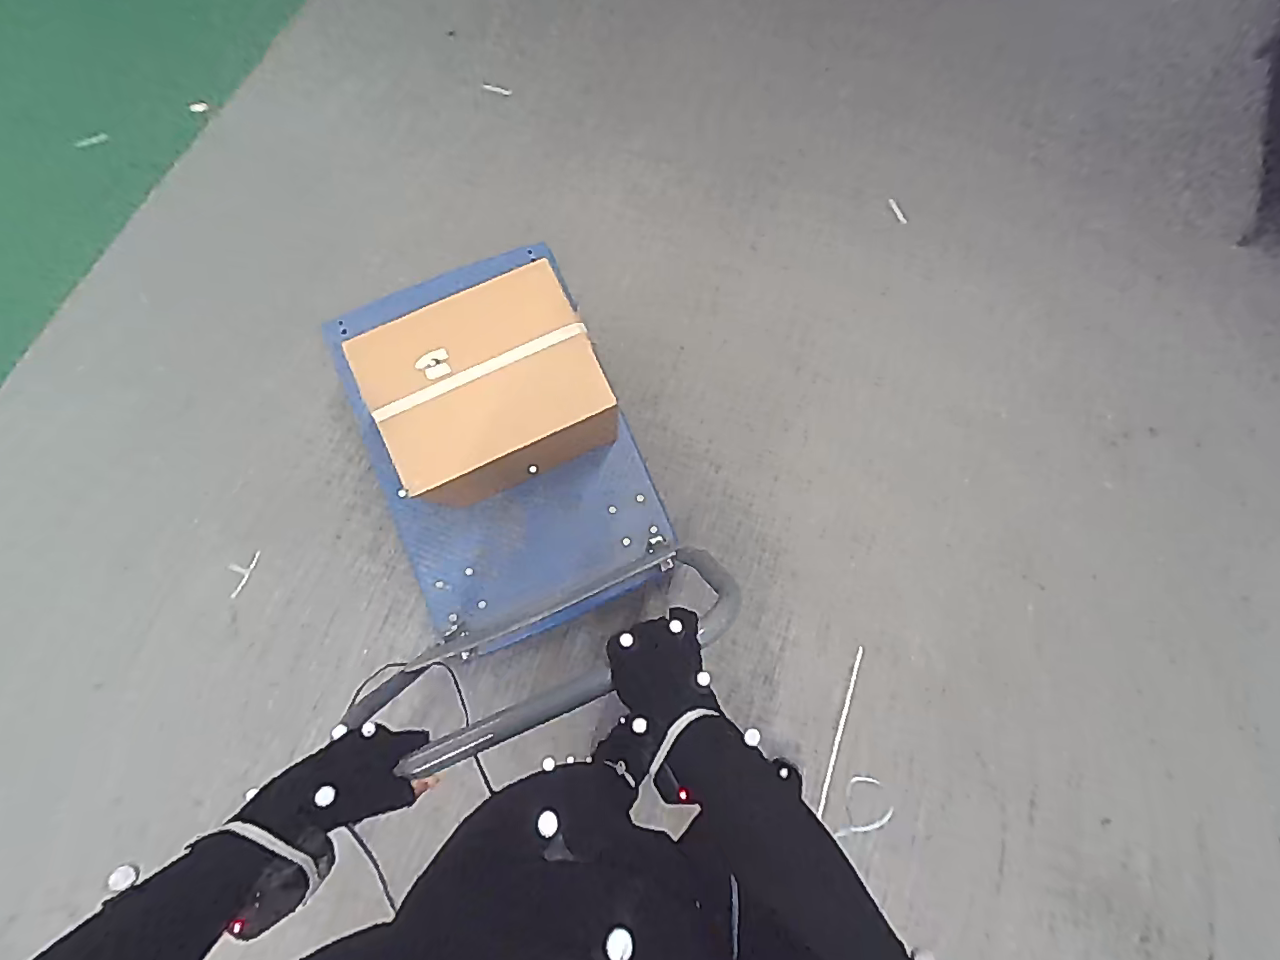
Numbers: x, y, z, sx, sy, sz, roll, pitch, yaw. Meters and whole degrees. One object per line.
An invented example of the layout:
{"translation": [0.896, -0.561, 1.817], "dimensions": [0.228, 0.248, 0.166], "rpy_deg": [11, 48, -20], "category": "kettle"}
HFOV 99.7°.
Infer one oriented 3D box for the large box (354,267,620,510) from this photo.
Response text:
{"translation": [-0.286, -0.165, 1.138], "dimensions": [0.408, 0.320, 0.320], "rpy_deg": [-27, 84, -4], "category": "large box"}
